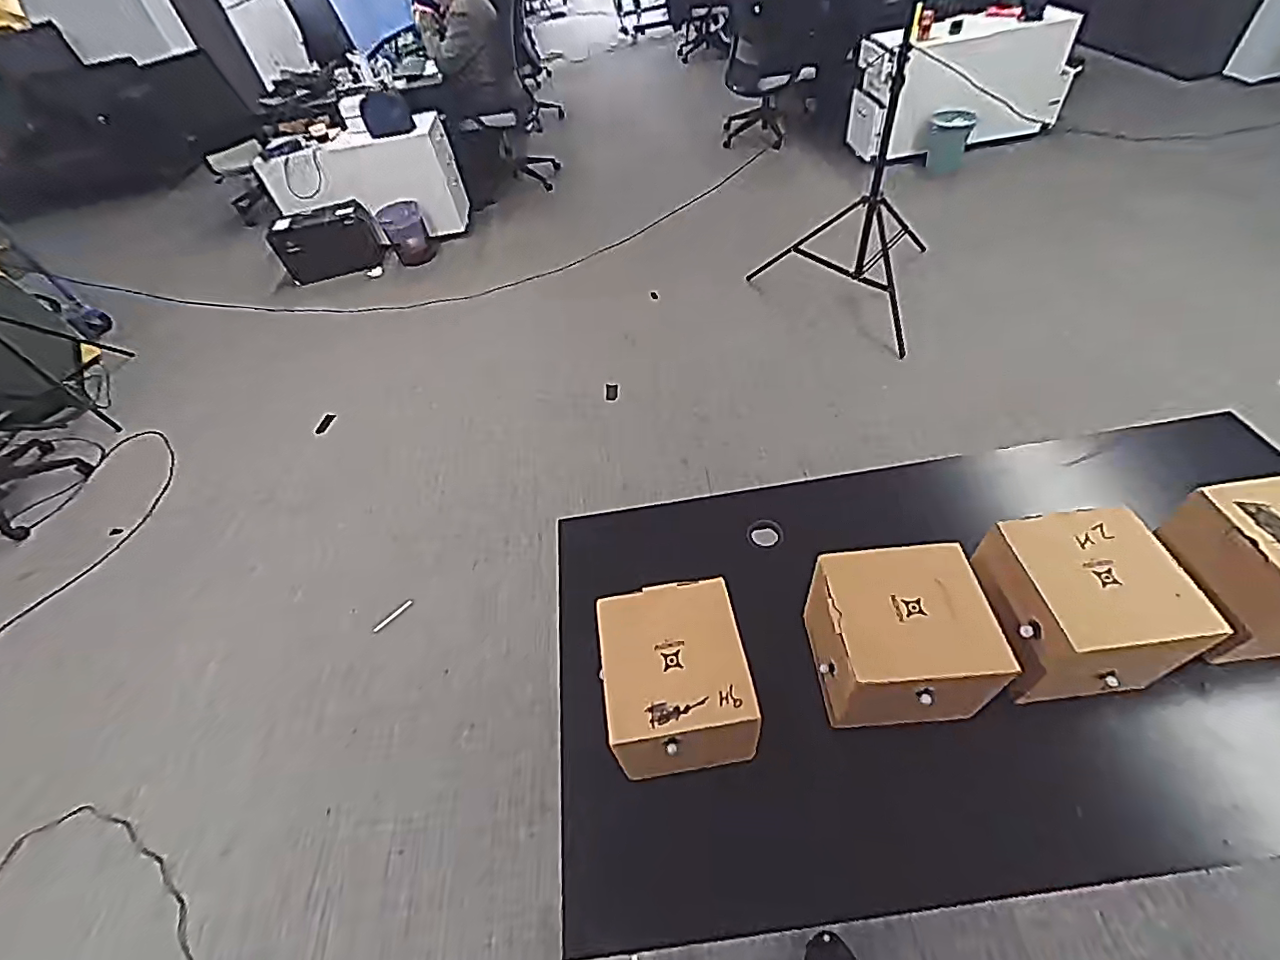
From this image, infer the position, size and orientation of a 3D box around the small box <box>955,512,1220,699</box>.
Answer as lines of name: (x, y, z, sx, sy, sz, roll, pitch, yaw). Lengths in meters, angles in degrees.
small box: (0.546, 0.168, 0.696, 0.168, 0.176, 0.179, -8, 49, 2)

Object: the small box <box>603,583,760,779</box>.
small box: (0.049, 0.260, 0.698, 0.168, 0.176, 0.179, -10, 49, 1)

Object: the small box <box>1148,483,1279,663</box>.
small box: (0.803, 0.121, 0.693, 0.179, 0.176, 0.168, -7, 49, 2)
